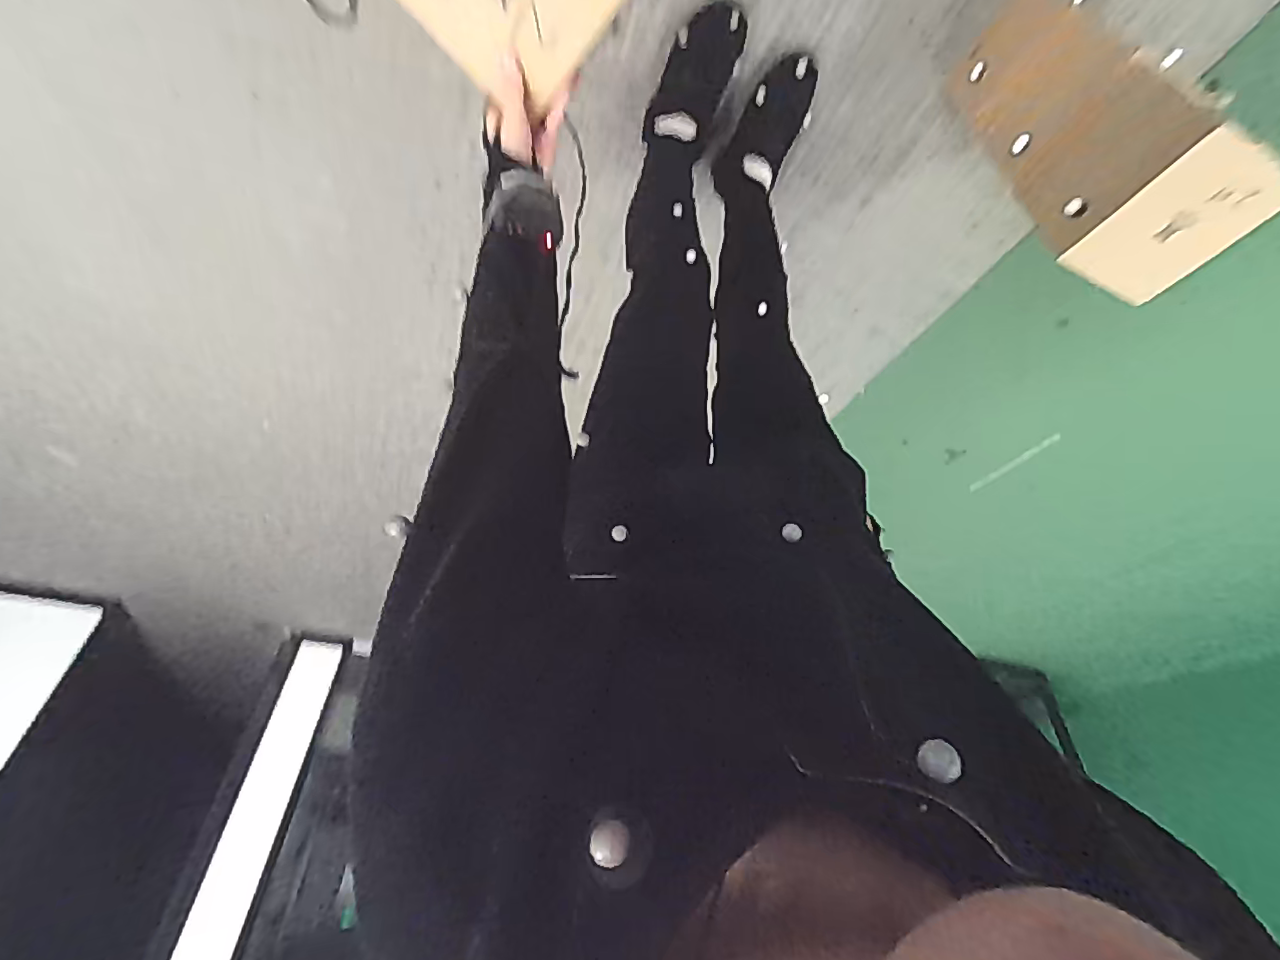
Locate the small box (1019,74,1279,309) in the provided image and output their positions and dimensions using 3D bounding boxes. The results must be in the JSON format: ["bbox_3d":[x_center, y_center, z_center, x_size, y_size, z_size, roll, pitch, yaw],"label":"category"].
[{"bbox_3d":[0.628,-0.362,0.690,0.168,0.176,0.179,16,142,-18],"label":"small box"}]

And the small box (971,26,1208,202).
[{"bbox_3d":[0.624,-0.501,0.778,0.168,0.176,0.179,15,142,-17],"label":"small box"}]
